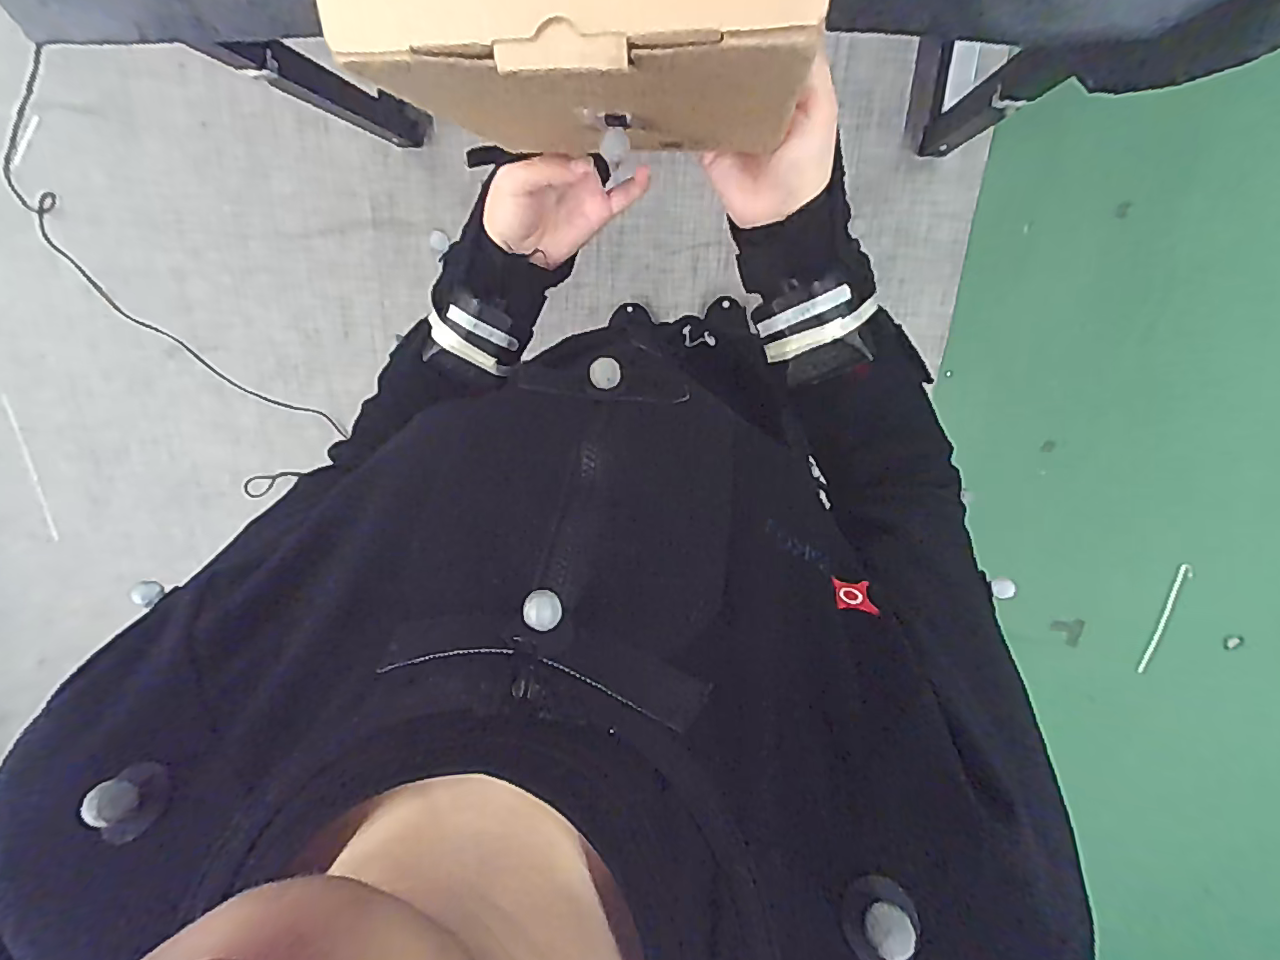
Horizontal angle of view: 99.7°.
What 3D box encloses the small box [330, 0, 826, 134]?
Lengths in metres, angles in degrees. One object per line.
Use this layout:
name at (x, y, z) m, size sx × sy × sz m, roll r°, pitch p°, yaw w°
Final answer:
small box at (-0.009, -0.248, 0.213) m, size 0.168 × 0.176 × 0.179 m, roll 4°, pitch 114°, yaw 8°
